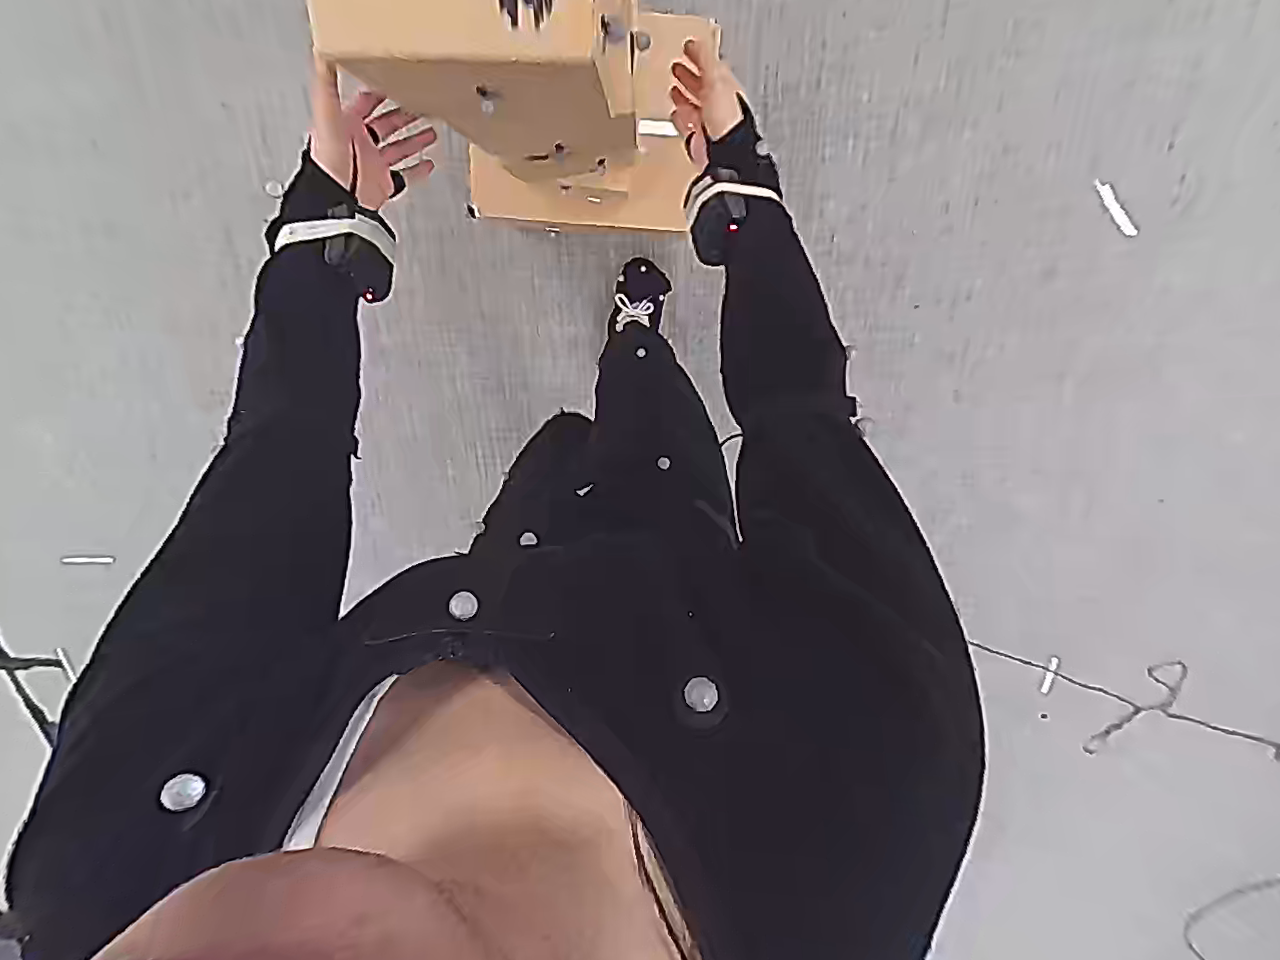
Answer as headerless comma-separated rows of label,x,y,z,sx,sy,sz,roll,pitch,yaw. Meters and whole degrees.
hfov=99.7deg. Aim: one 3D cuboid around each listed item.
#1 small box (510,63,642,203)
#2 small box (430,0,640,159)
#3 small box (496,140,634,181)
small box,-0.094,-0.538,0.840,0.179,0.176,0.168,7,112,-3
small box,-0.092,-0.426,0.533,0.179,0.176,0.168,-2,112,0
small box,-0.099,-0.491,0.683,0.168,0.176,0.179,-8,111,2
